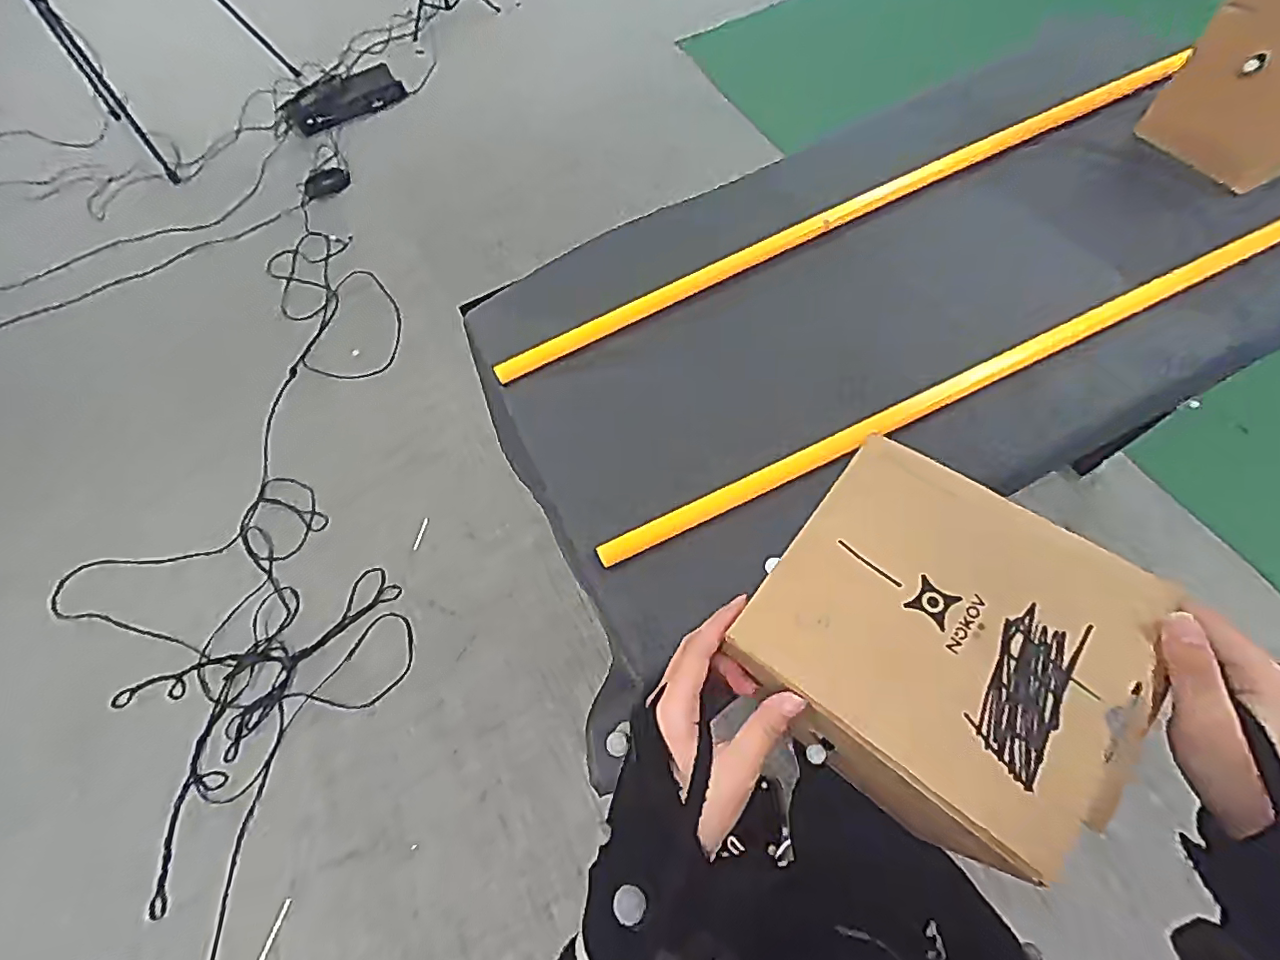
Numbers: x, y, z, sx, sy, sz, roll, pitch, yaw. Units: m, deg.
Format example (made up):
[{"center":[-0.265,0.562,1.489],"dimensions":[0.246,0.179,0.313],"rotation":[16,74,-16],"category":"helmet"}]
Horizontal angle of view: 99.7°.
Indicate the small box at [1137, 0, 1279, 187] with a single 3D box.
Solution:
[{"center":[0.839,-0.521,0.712],"dimensions":[0.168,0.176,0.179],"rotation":[-26,63,-5],"category":"small box"}]
